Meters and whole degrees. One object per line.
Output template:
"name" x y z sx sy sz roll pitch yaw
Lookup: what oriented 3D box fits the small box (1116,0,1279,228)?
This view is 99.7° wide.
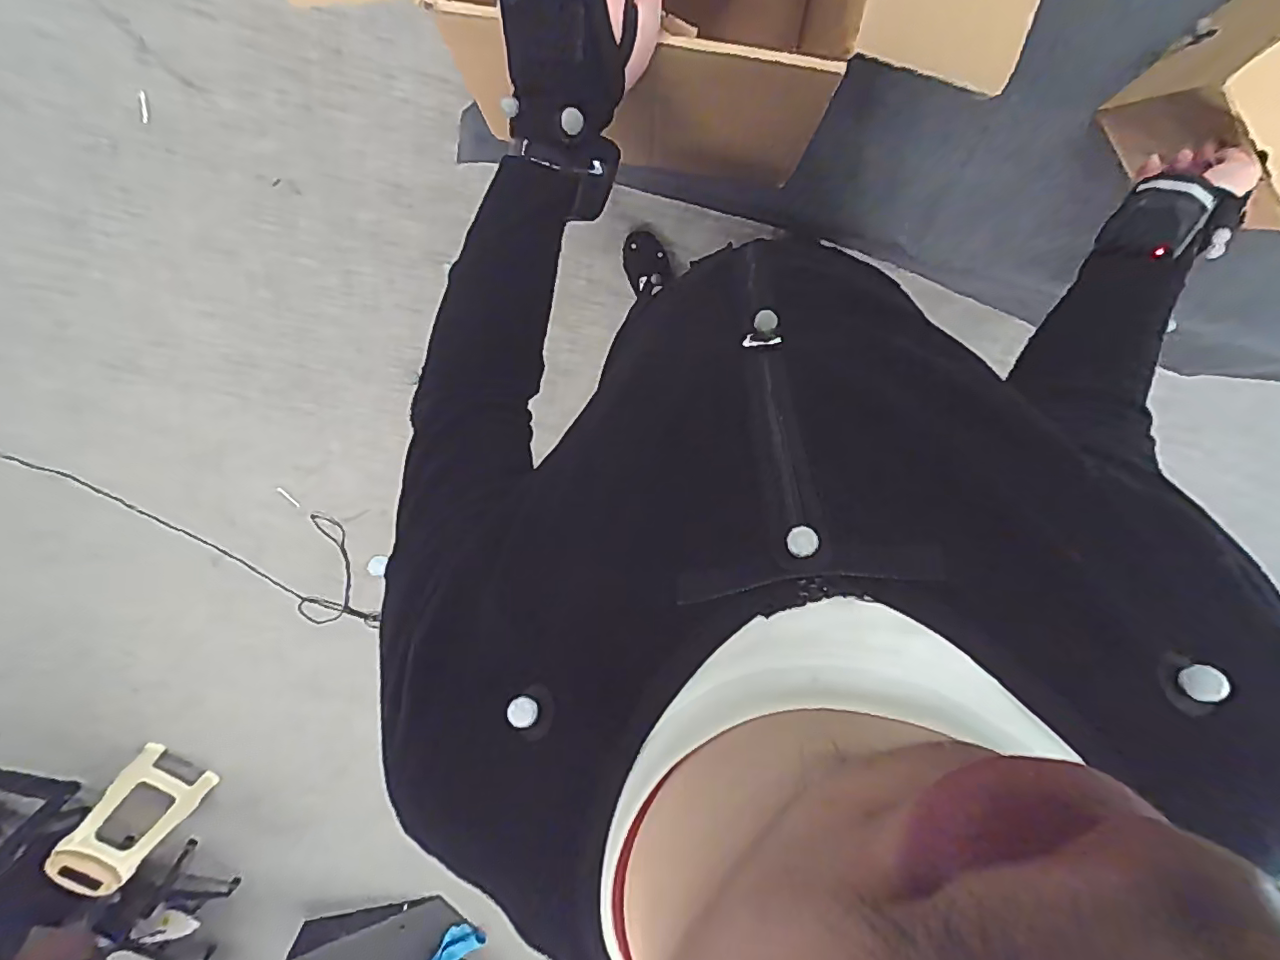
"small box" 0.636 -0.381 0.541 0.179 0.176 0.168 -39 107 22
